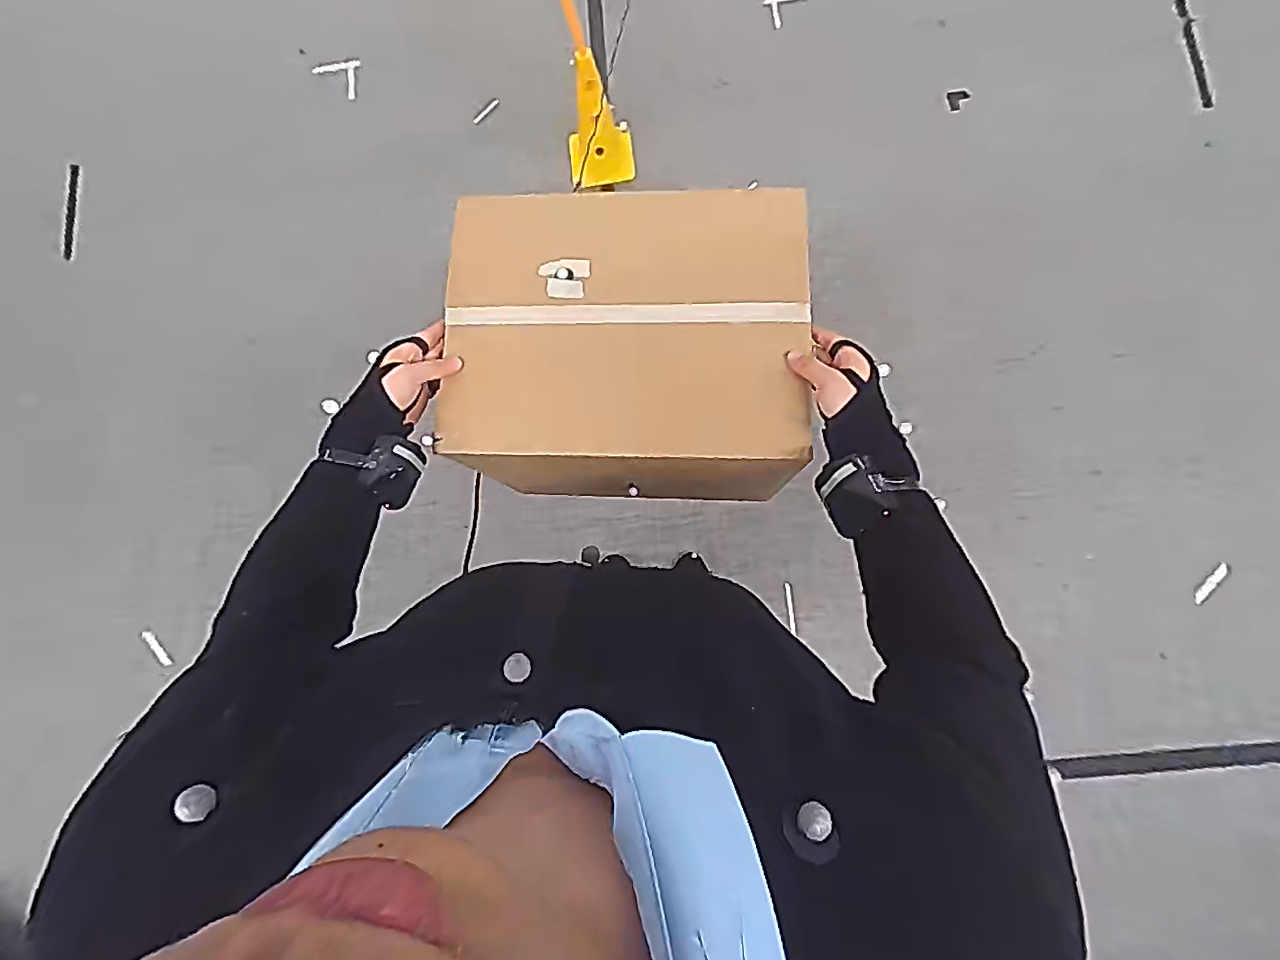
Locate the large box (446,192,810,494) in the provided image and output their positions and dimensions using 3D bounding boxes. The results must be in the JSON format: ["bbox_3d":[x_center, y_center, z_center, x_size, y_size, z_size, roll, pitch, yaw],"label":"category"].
[{"bbox_3d":[-0.003,-0.152,0.754,0.408,0.320,0.320,0,79,5],"label":"large box"}]
